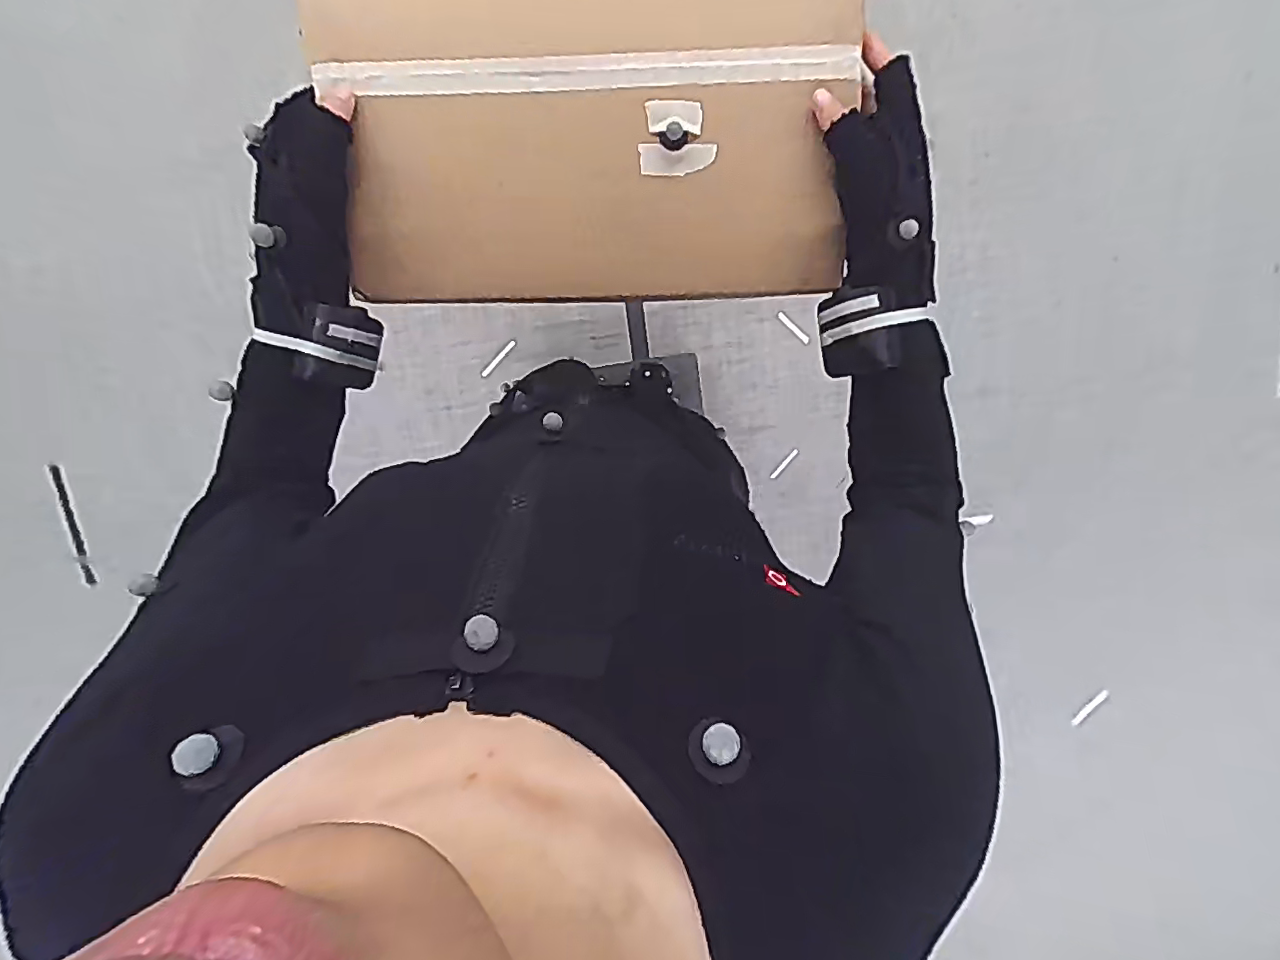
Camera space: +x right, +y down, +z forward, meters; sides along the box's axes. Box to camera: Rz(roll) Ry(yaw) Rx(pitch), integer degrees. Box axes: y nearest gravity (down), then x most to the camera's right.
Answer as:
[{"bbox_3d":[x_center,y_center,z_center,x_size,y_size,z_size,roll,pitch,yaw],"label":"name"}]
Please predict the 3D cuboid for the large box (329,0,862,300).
[{"bbox_3d":[-0.034,-0.356,0.556,0.408,0.320,0.320,-1,108,1],"label":"large box"}]
